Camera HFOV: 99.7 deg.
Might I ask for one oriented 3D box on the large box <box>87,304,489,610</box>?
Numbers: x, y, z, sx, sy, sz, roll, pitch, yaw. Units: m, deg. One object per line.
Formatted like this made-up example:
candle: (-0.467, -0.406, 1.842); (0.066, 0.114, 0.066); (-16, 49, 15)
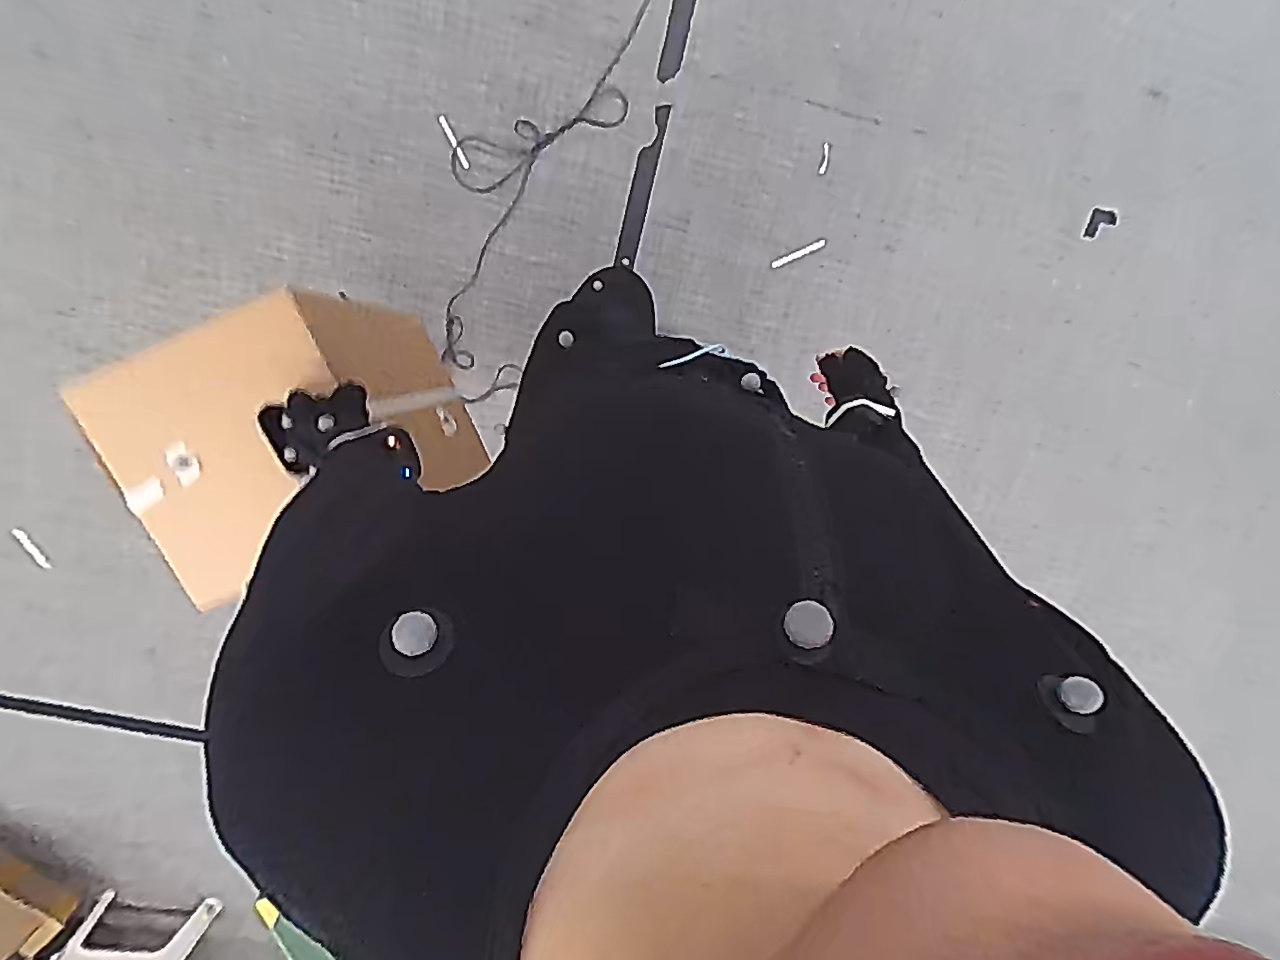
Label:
large box: (-0.498, -0.055, 0.876); (0.320, 0.408, 0.320); (-24, 101, 4)
